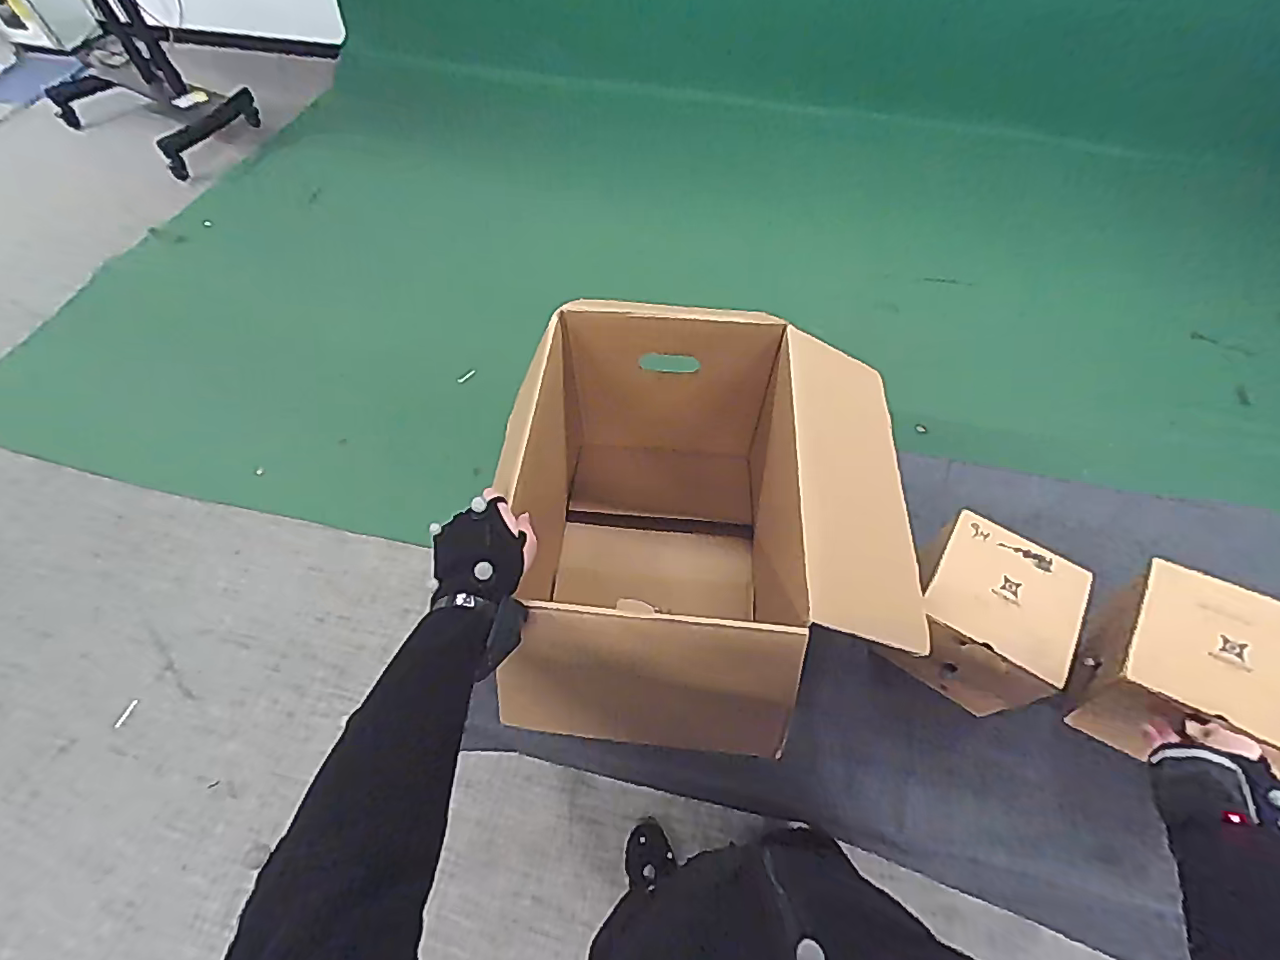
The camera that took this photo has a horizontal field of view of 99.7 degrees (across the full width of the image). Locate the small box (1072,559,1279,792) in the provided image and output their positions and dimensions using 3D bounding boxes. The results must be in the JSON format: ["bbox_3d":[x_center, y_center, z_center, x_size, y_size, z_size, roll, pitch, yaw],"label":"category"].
[{"bbox_3d":[0.651,0.232,0.637,0.168,0.176,0.179,25,61,28],"label":"small box"}]
